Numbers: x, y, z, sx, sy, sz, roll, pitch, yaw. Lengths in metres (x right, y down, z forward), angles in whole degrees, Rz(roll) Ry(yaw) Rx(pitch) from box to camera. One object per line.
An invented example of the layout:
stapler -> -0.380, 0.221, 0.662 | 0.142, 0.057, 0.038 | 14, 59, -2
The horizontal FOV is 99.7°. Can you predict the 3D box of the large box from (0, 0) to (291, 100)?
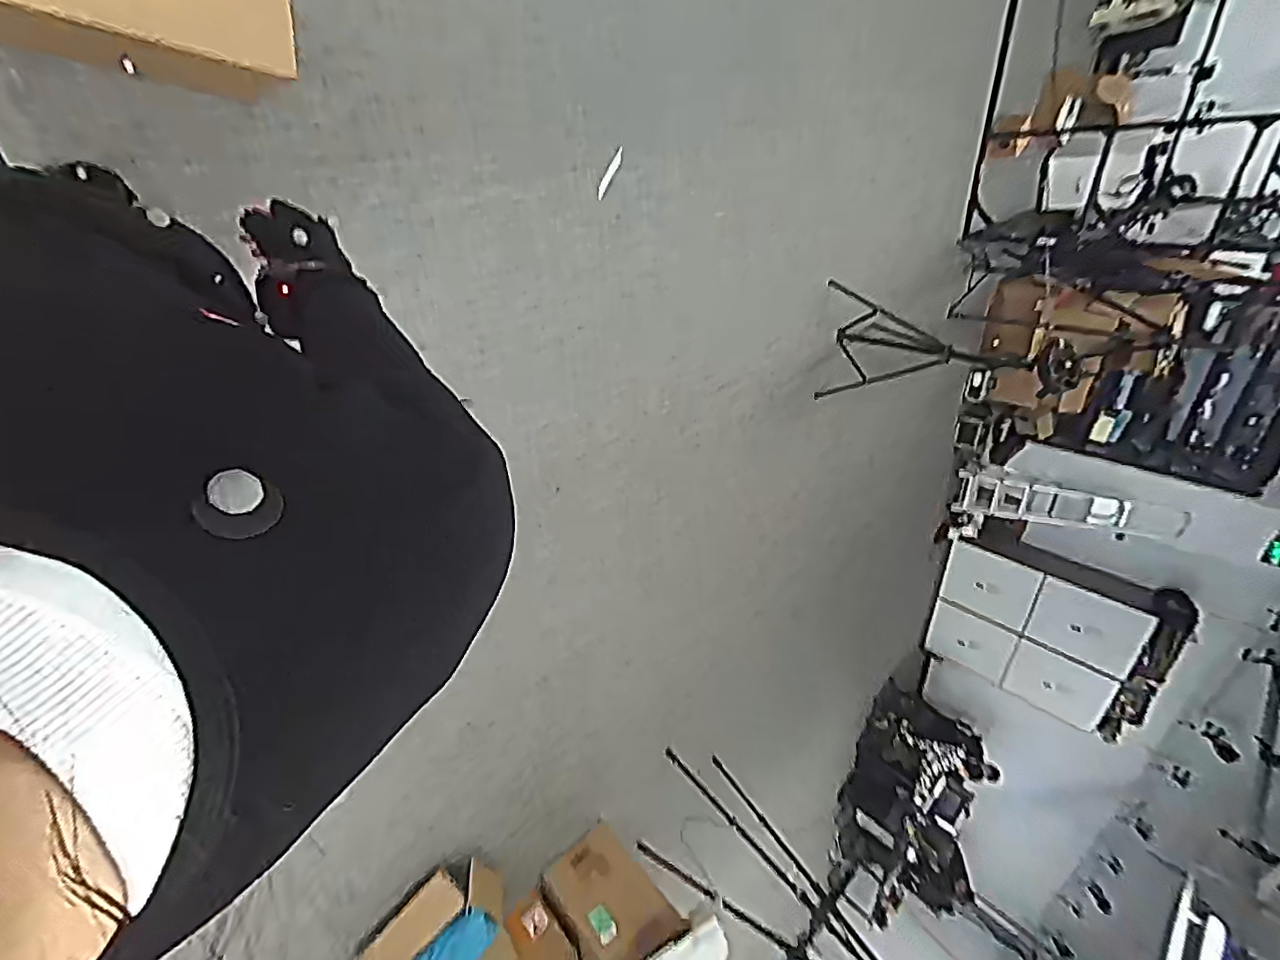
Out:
large box -> -0.802, -0.808, 0.801 | 0.408, 0.320, 0.320 | -14, 118, -41
